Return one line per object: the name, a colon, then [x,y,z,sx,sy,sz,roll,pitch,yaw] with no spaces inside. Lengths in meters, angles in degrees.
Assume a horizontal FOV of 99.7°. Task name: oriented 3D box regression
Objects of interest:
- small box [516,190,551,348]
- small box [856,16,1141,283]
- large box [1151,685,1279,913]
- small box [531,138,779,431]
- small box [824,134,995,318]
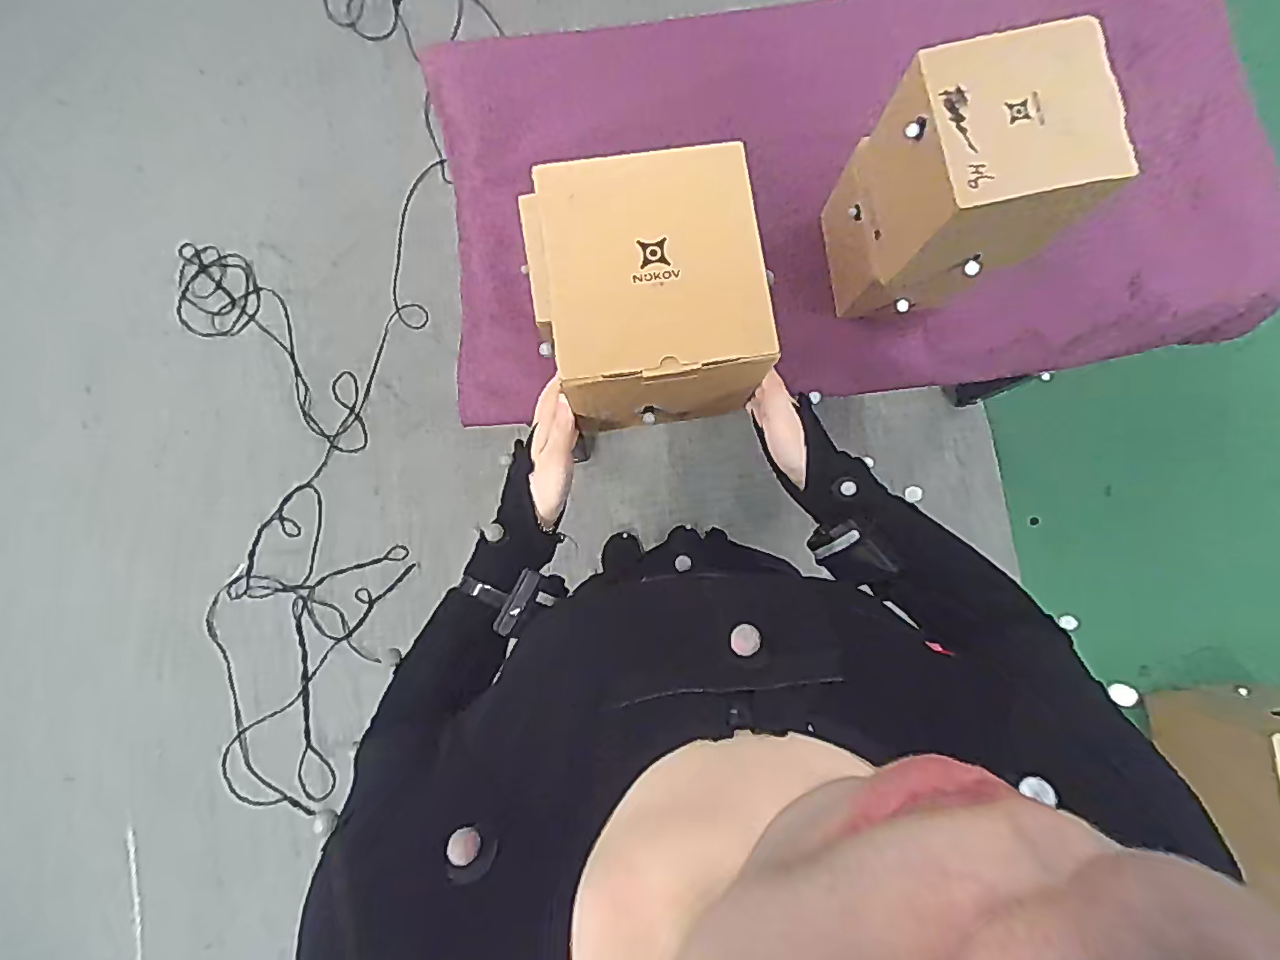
small box: [-0.062,-0.276,0.742,0.168,0.176,0.179,-9,83,1]
small box: [0.361,-0.334,0.579,0.179,0.176,0.168,-10,84,0]
large box: [1.524,0.744,1.270,0.320,0.320,0.408,-6,85,1]
small box: [0.006,-0.154,0.473,0.168,0.176,0.179,-8,83,-2]
small box: [0.368,-0.345,0.744,0.168,0.176,0.179,-7,84,1]
